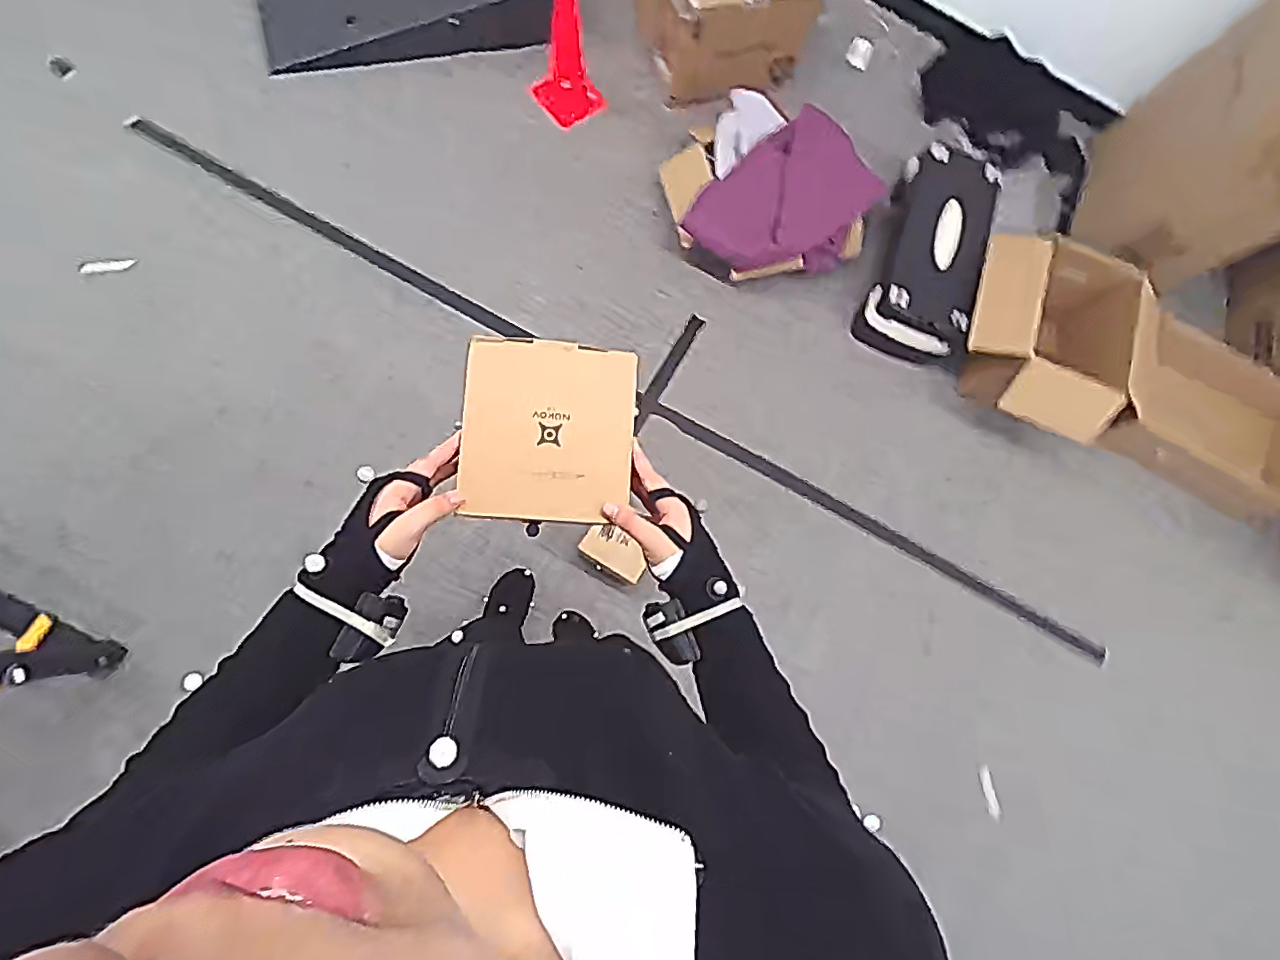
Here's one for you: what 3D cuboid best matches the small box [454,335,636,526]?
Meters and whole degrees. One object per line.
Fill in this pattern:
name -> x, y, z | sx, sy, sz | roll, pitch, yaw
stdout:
small box -> -0.103, -0.041, 0.601 | 0.168, 0.176, 0.179 | 3, 85, -9

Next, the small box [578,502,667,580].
small box -> -0.054, 0.159, 1.461 | 0.179, 0.176, 0.168 | 33, 77, -1
